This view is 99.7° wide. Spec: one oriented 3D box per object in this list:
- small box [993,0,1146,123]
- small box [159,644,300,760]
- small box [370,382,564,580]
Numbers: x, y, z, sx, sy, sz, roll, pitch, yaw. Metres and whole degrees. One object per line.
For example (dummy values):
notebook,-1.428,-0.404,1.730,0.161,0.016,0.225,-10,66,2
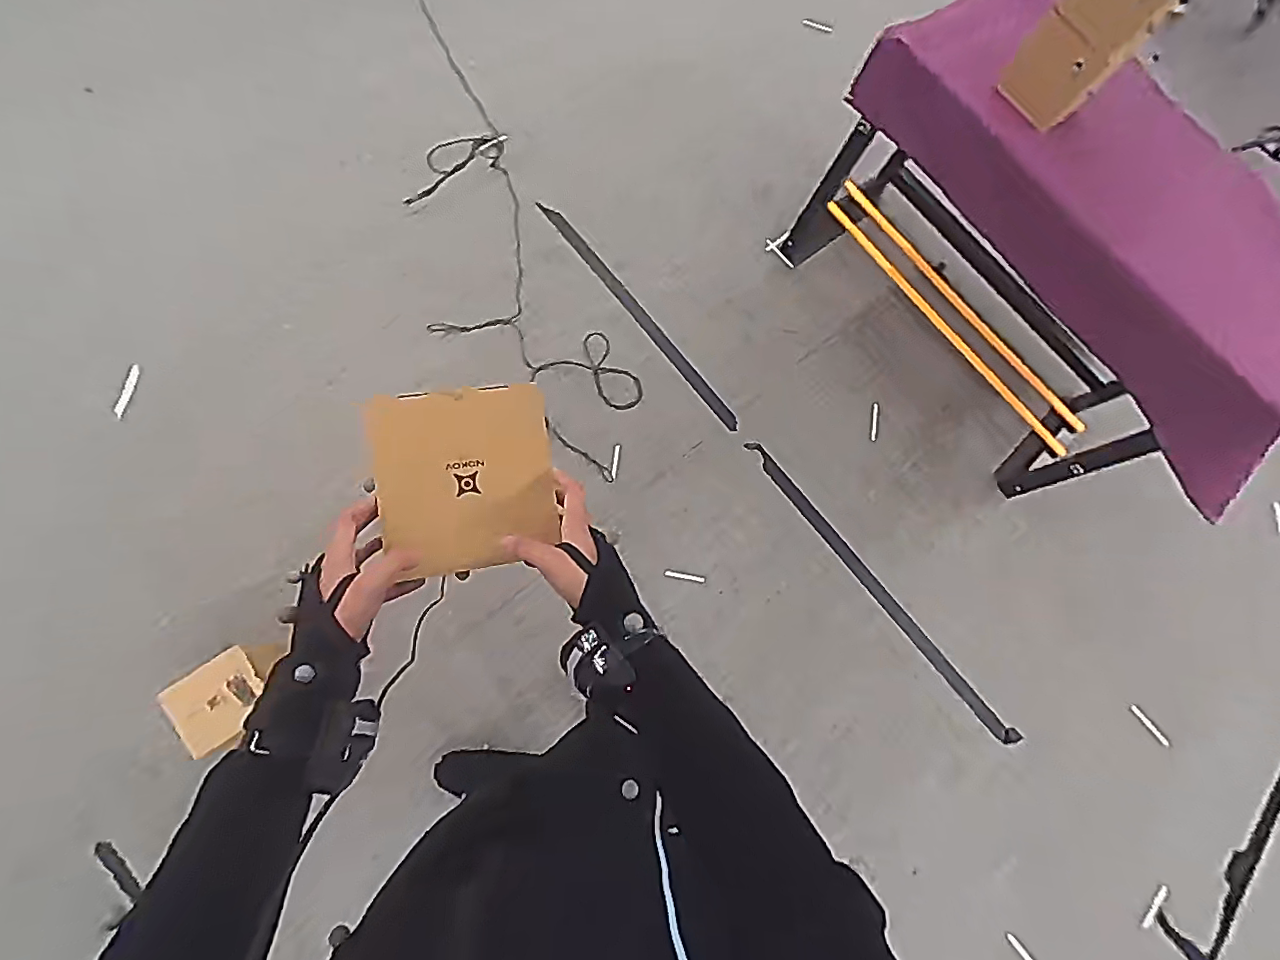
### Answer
small box,0.960,-0.949,1.221,0.168,0.176,0.179,-36,83,-19
small box,-0.908,0.488,1.221,0.179,0.176,0.168,-35,82,-17
small box,-0.180,0.002,0.594,0.168,0.176,0.179,-8,87,-14
